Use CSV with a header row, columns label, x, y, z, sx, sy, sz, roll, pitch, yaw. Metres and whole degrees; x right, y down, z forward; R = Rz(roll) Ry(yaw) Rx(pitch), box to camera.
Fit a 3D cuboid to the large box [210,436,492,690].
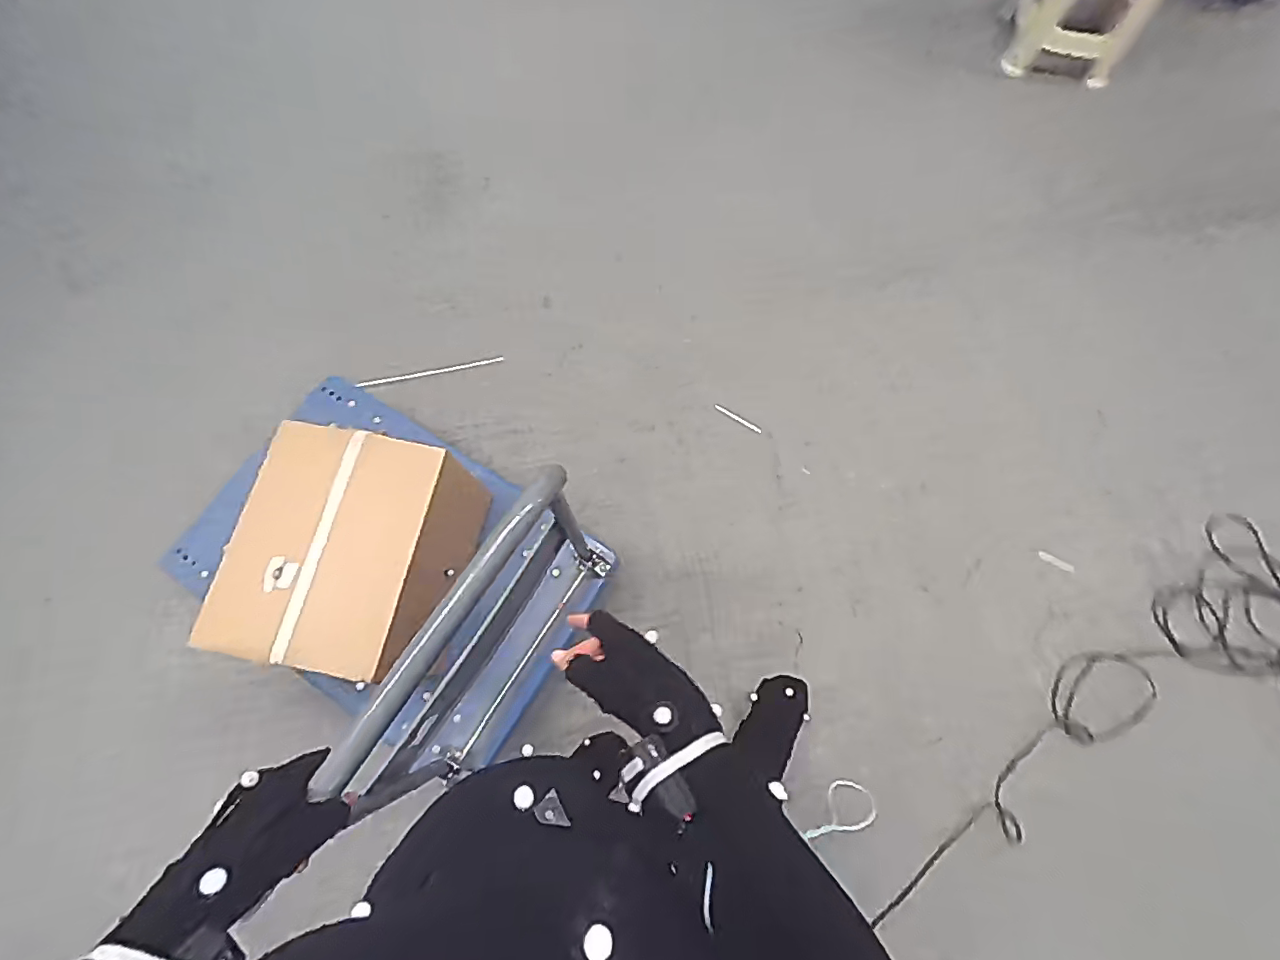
label,x,y,z,sx,sy,sz,roll,pitch,yaw
large box,-0.520,0.170,1.072,0.320,0.320,0.408,10,73,4
